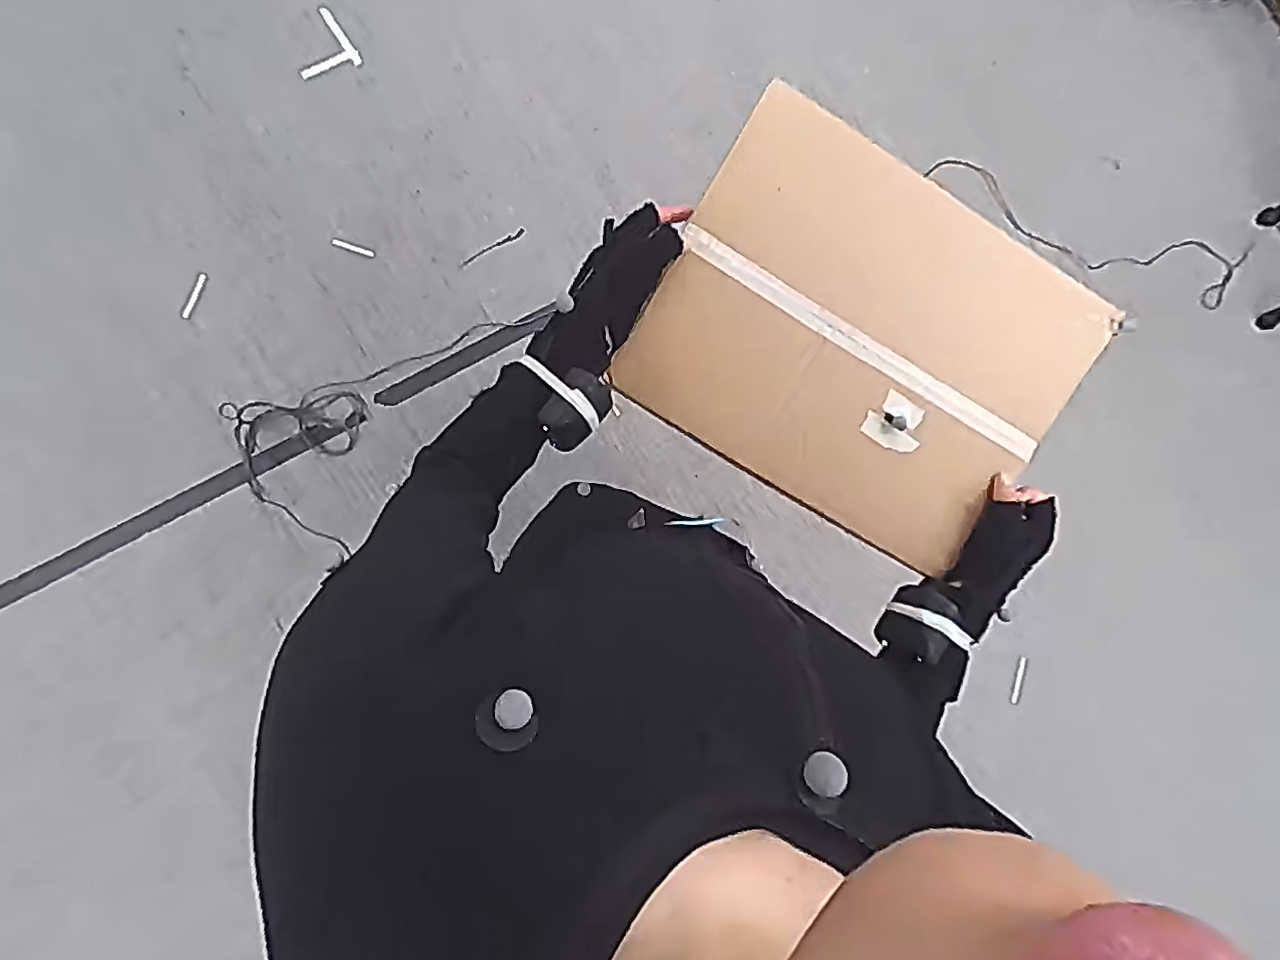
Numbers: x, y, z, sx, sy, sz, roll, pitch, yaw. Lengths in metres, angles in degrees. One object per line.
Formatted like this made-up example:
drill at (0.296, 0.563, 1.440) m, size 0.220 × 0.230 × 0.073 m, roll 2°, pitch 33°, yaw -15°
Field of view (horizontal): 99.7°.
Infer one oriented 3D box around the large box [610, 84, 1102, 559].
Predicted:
large box at (0.207, -0.163, 0.679) m, size 0.408 × 0.320 × 0.320 m, roll 31°, pitch 98°, yaw -6°
